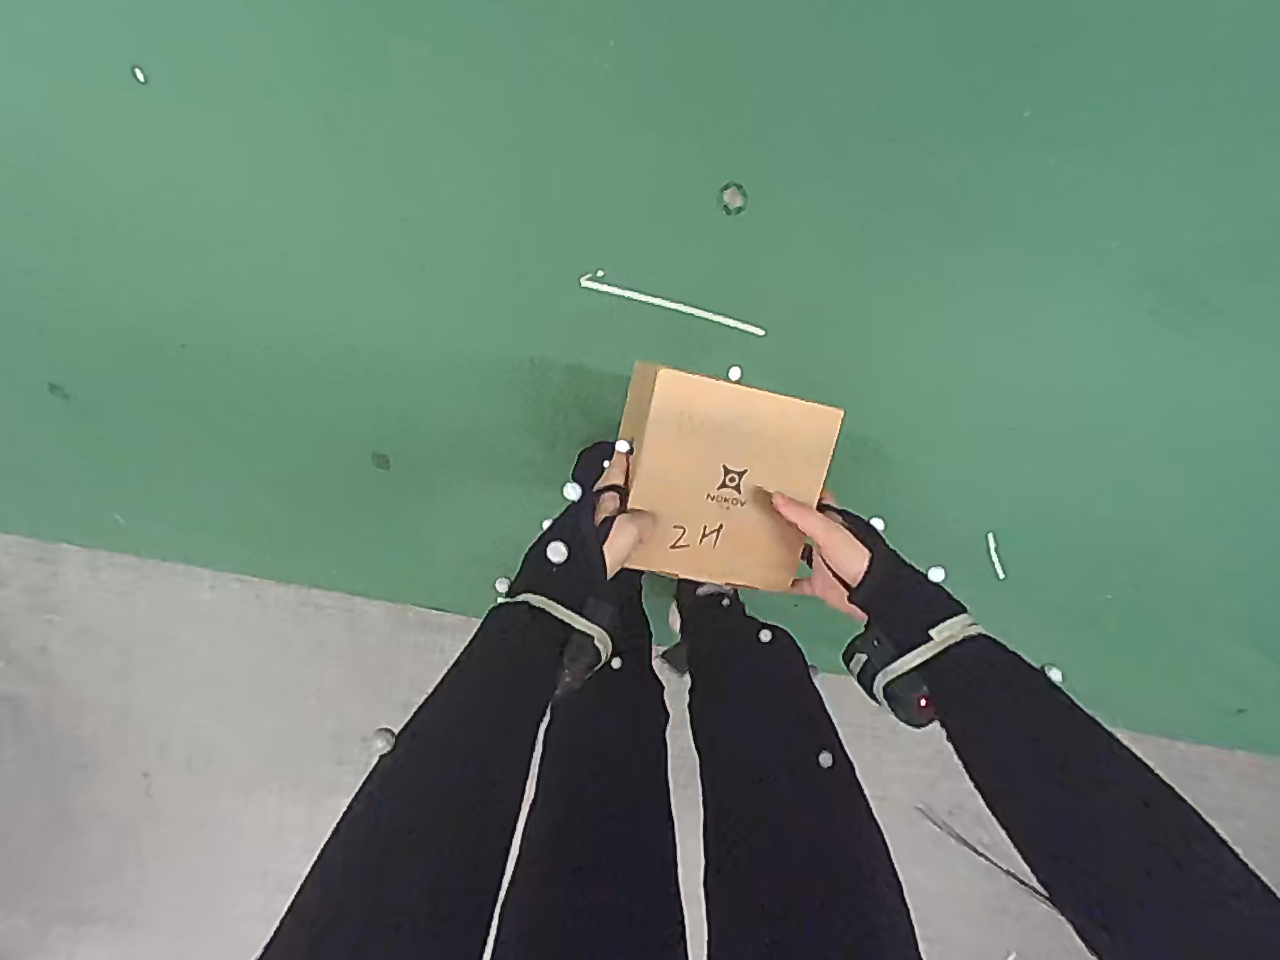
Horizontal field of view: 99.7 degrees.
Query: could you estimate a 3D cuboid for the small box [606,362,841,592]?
[{"bbox_3d":[0.065,-0.015,0.541,0.168,0.176,0.179,12,102,-10],"label":"small box"}]
